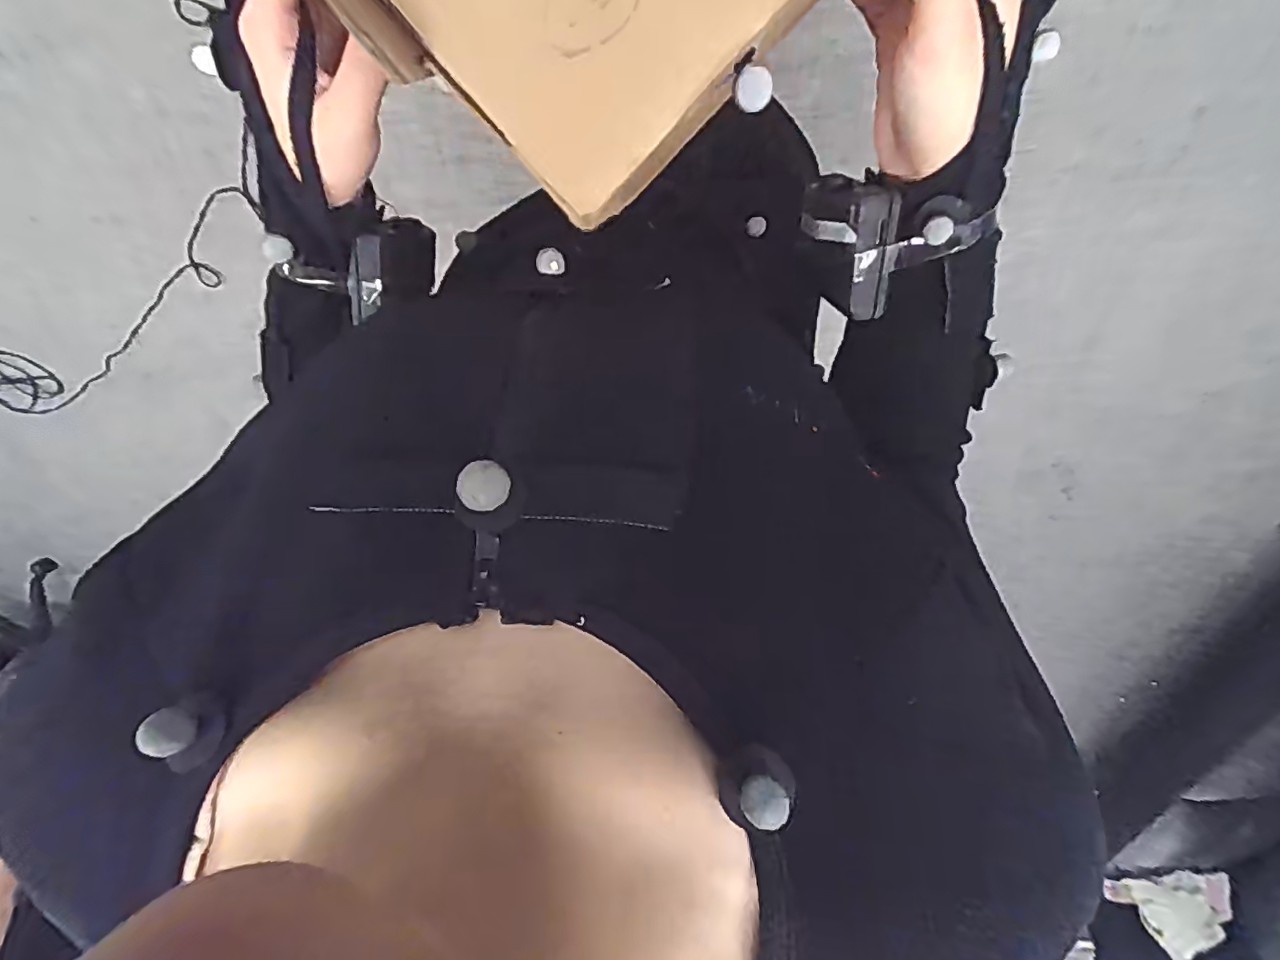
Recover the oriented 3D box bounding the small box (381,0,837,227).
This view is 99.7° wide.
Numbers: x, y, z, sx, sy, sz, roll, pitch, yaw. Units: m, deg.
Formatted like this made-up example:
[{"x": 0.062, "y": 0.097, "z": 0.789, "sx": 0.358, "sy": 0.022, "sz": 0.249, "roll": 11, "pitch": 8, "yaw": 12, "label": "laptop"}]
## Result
[{"x": -0.004, "y": -0.222, "z": 0.193, "sx": 0.179, "sy": 0.176, "sz": 0.168, "roll": -40, "pitch": 110, "yaw": 21, "label": "small box"}]
